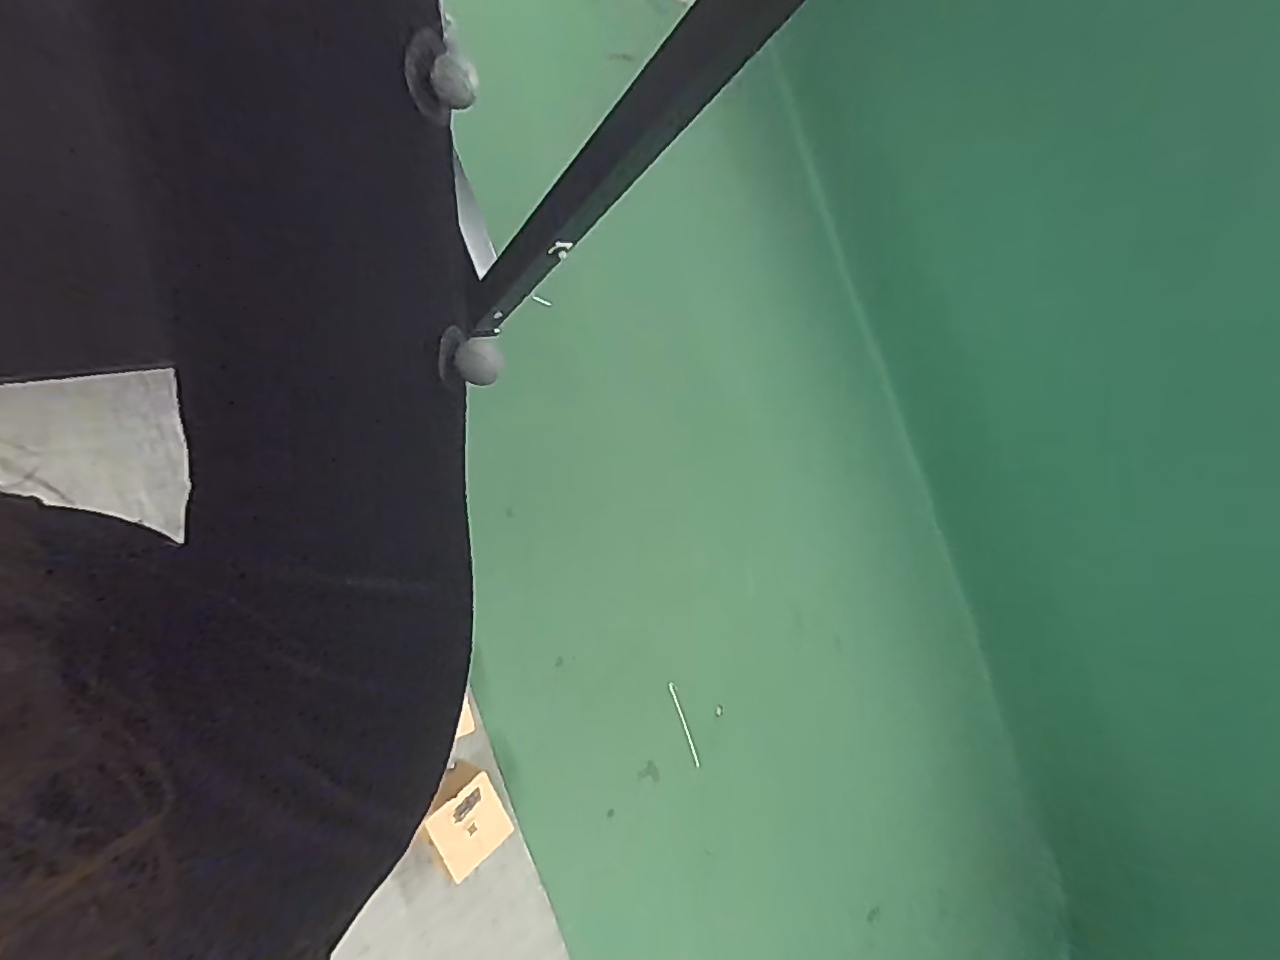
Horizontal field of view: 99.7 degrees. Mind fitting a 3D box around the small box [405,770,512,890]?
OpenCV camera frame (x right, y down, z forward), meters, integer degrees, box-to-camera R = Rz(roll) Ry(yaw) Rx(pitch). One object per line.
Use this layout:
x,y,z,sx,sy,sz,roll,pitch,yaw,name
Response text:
-0.454,0.848,1.336,0.168,0.176,0.179,-28,97,-40,small box
